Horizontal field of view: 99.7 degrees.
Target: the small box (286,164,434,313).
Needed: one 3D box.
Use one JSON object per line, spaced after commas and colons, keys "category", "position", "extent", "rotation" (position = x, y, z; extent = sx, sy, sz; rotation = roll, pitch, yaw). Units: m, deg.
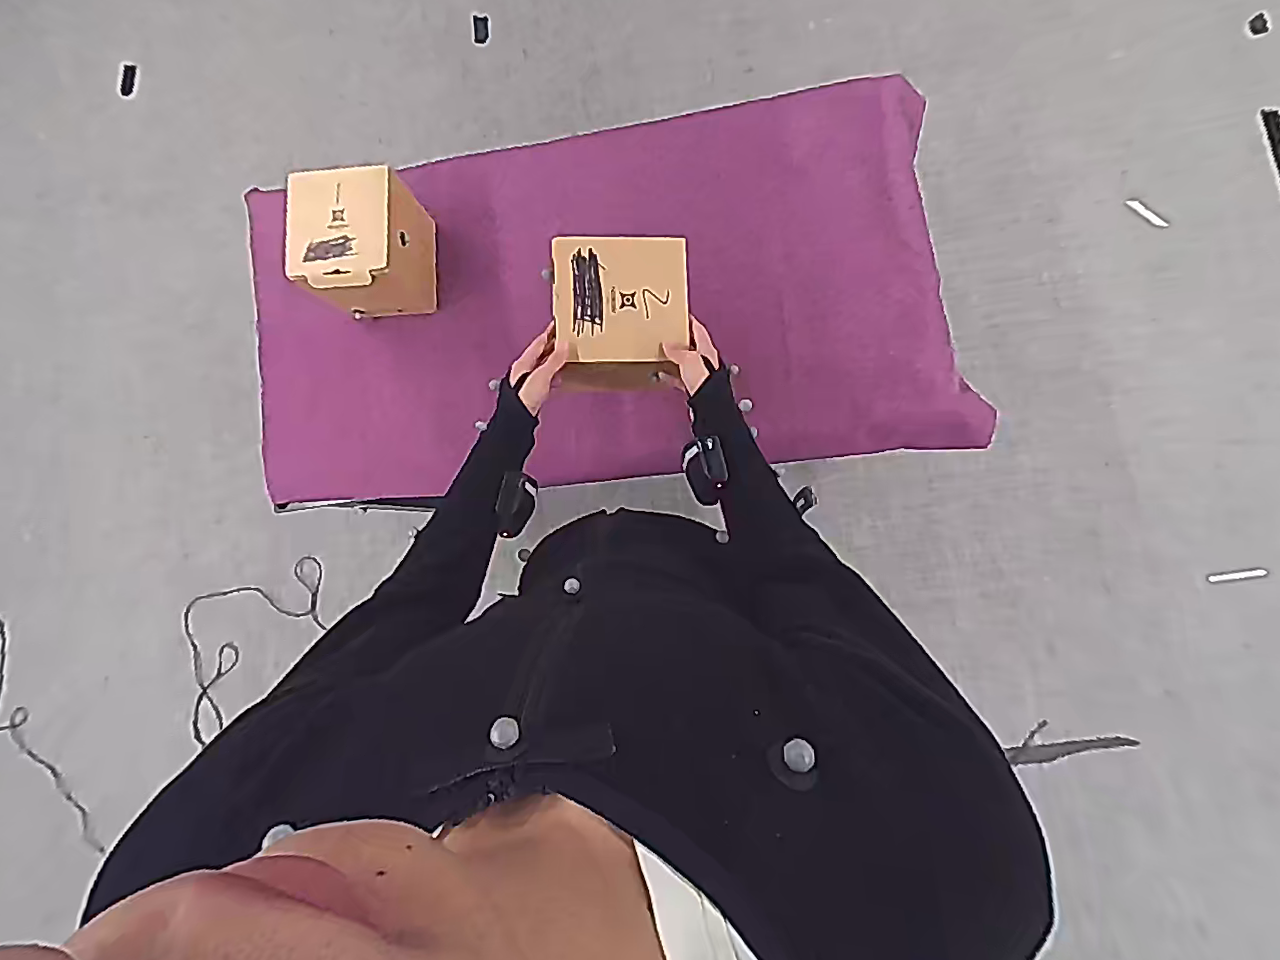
{"category": "small box", "position": [-0.461, -0.392, 0.912], "extent": [0.168, 0.176, 0.179], "rotation": [-3, 85, 3]}
